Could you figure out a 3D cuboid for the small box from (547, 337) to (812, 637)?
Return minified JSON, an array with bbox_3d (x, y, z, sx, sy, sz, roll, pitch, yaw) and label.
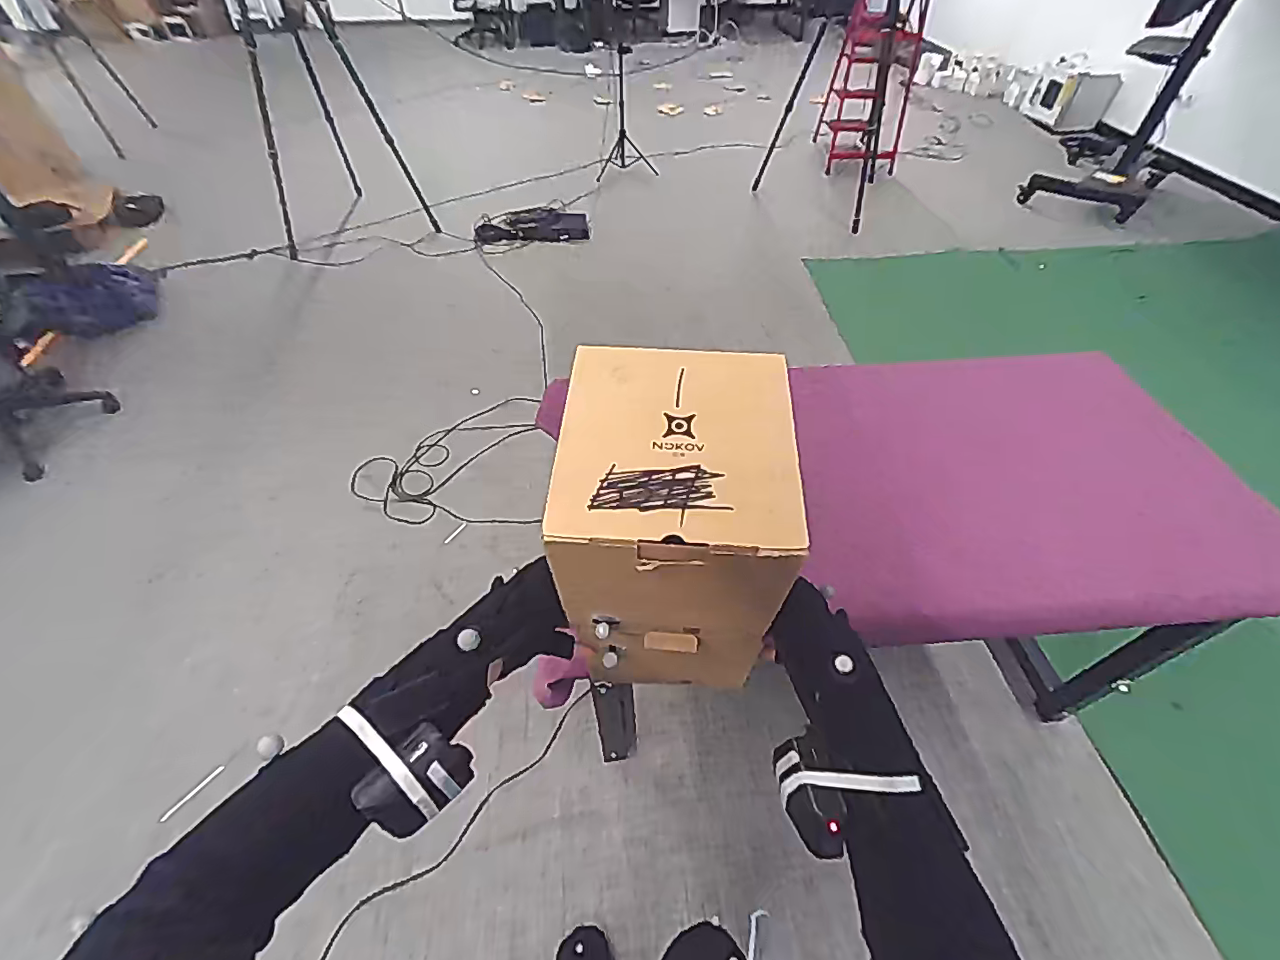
[{"bbox_3d":[0.033,0.014,0.437,0.168,0.176,0.179,7,57,3],"label":"small box"}]
